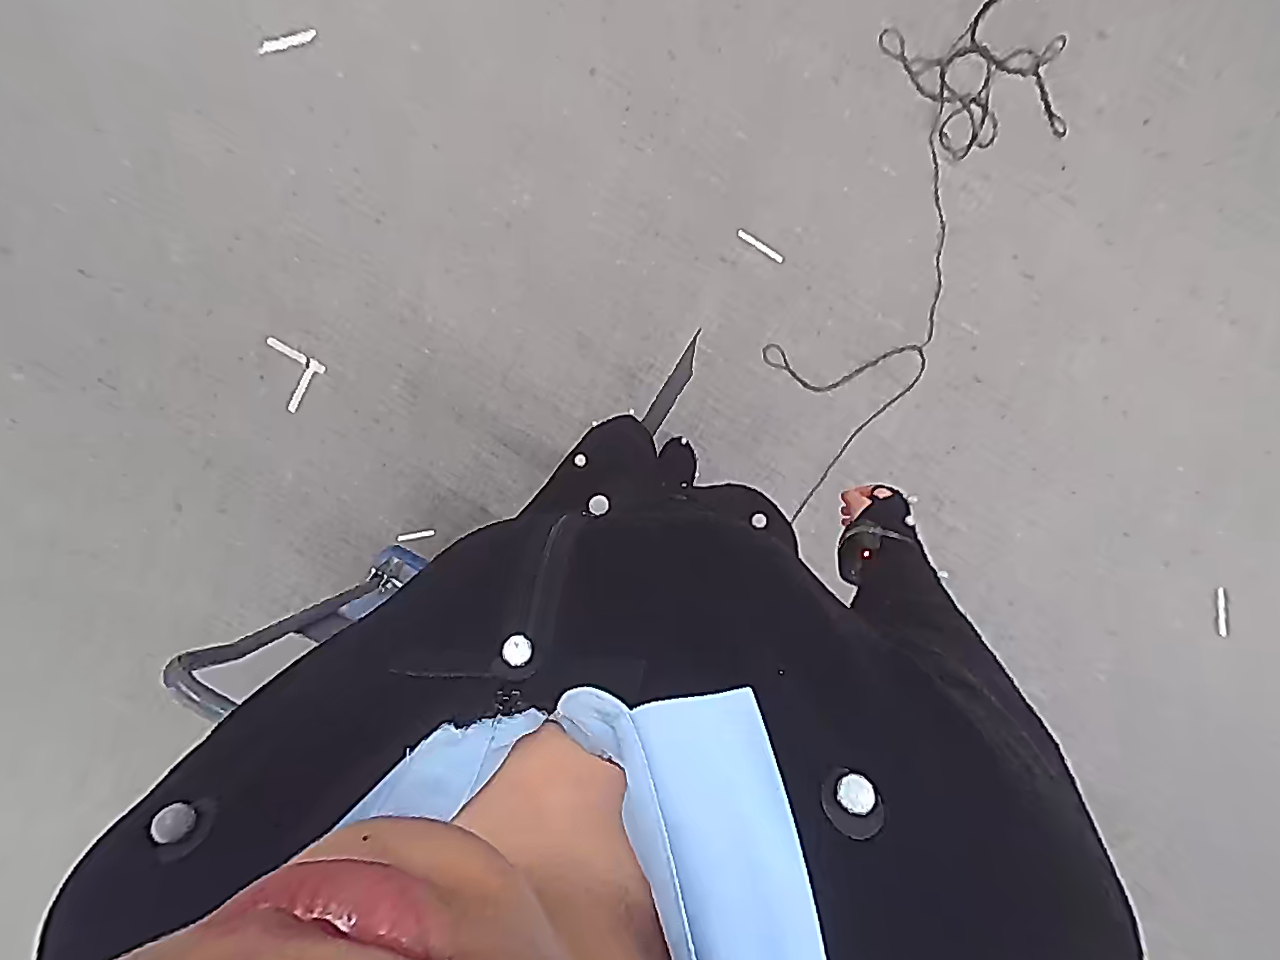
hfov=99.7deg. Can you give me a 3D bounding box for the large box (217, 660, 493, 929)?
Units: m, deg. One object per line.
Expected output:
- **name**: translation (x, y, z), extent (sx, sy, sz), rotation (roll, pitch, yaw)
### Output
- **large box**: translation (-0.618, 0.691, 1.246), extent (0.408, 0.320, 0.320), rotation (31, 95, -3)
